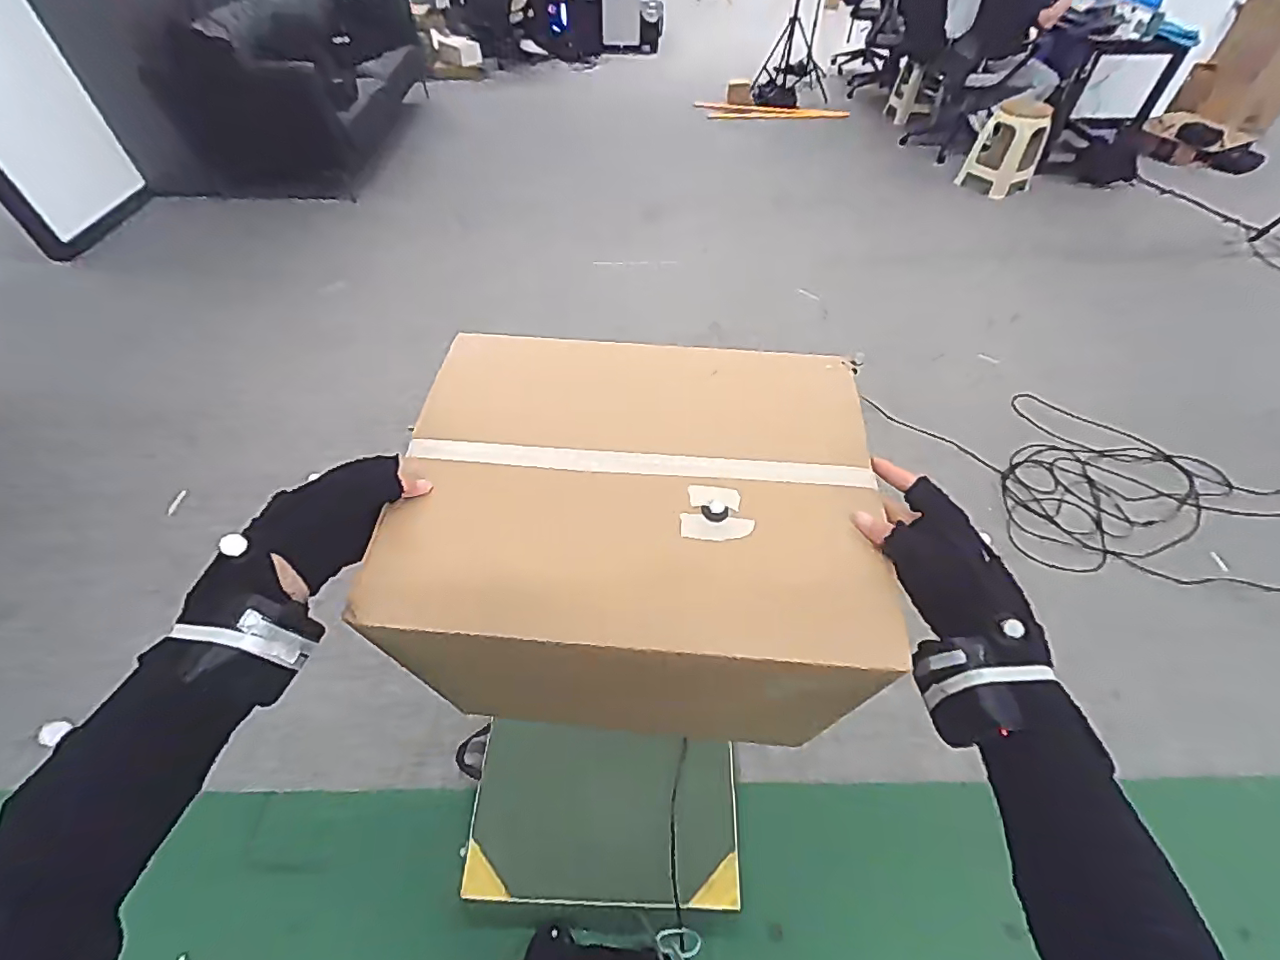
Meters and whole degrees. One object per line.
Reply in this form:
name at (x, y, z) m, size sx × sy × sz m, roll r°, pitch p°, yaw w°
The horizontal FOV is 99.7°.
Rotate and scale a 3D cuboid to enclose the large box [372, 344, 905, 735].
large box at (0.002, 0.077, 0.601) m, size 0.408 × 0.320 × 0.320 m, roll 4°, pitch 56°, yaw 2°
